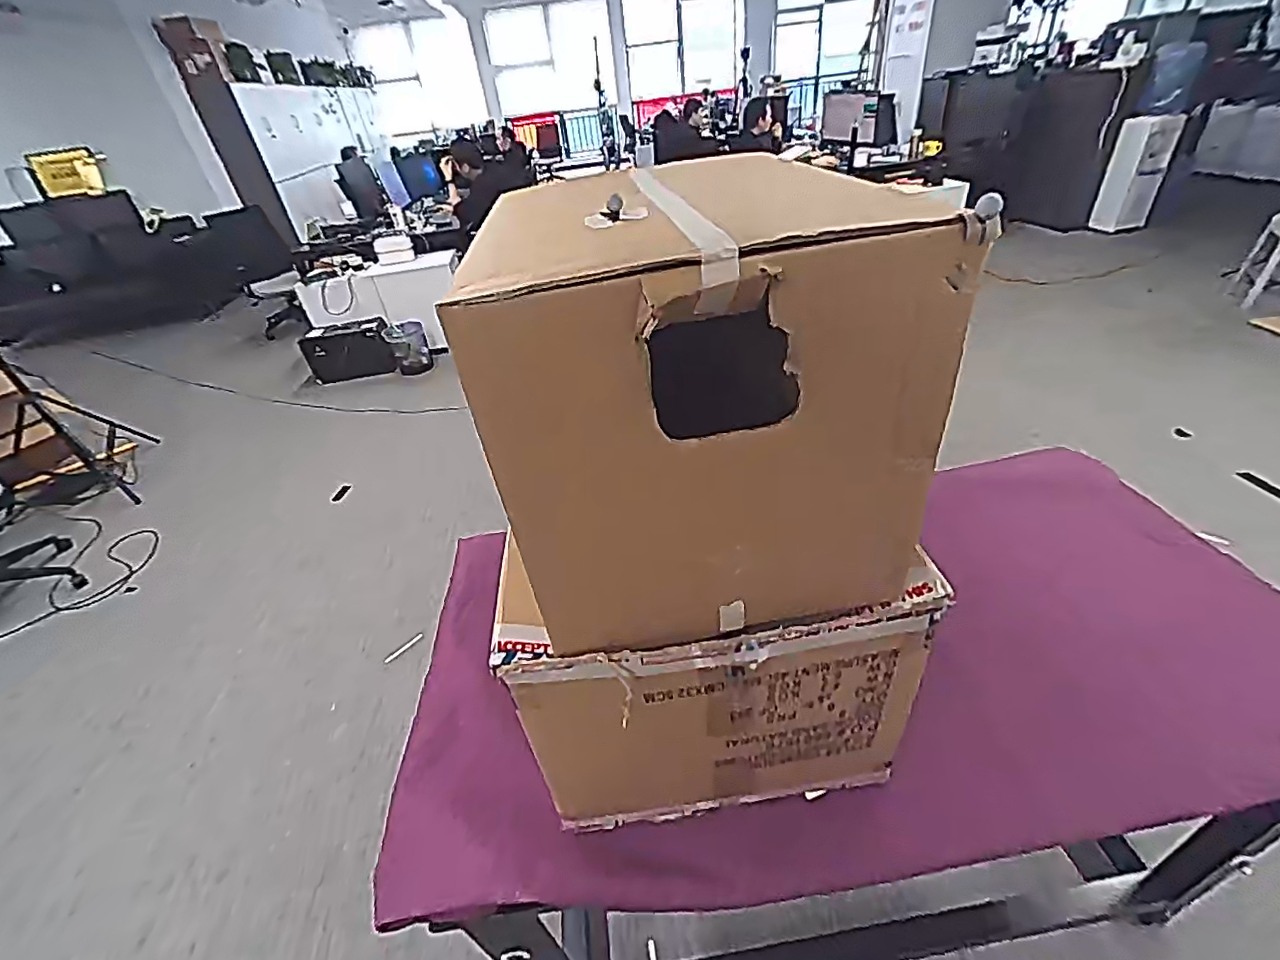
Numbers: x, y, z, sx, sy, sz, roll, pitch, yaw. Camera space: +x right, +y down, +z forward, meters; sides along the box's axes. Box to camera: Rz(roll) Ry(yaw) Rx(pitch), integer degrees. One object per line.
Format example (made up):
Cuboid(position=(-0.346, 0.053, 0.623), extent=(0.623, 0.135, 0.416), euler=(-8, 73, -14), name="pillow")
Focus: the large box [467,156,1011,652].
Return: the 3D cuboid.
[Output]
Cuboid(position=(0.045, -0.108, 0.538), extent=(0.320, 0.320, 0.408), euler=(-11, 36, -2), name="large box")
